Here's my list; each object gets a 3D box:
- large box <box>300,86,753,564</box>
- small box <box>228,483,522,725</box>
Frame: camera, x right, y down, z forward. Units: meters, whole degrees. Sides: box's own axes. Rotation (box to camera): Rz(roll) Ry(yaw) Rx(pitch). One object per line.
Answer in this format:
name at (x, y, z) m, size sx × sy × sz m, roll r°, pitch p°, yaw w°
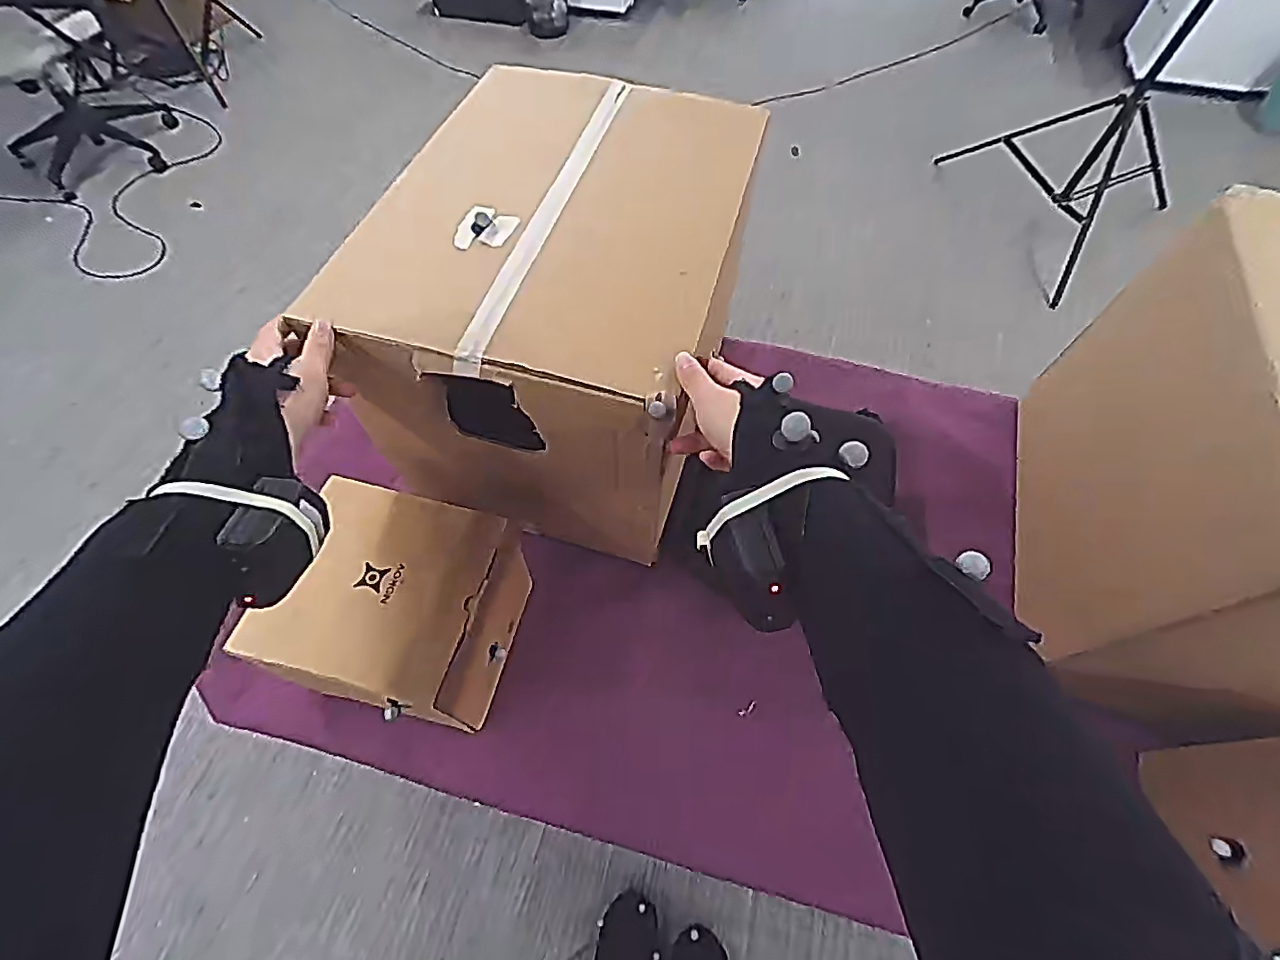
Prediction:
large box at (-0.077, -0.167, 0.629) m, size 0.320 × 0.320 × 0.408 m, roll 13°, pitch 63°, yaw 7°
small box at (-0.230, 0.129, 0.529) m, size 0.179 × 0.176 × 0.168 m, roll 13°, pitch 59°, yaw 3°
